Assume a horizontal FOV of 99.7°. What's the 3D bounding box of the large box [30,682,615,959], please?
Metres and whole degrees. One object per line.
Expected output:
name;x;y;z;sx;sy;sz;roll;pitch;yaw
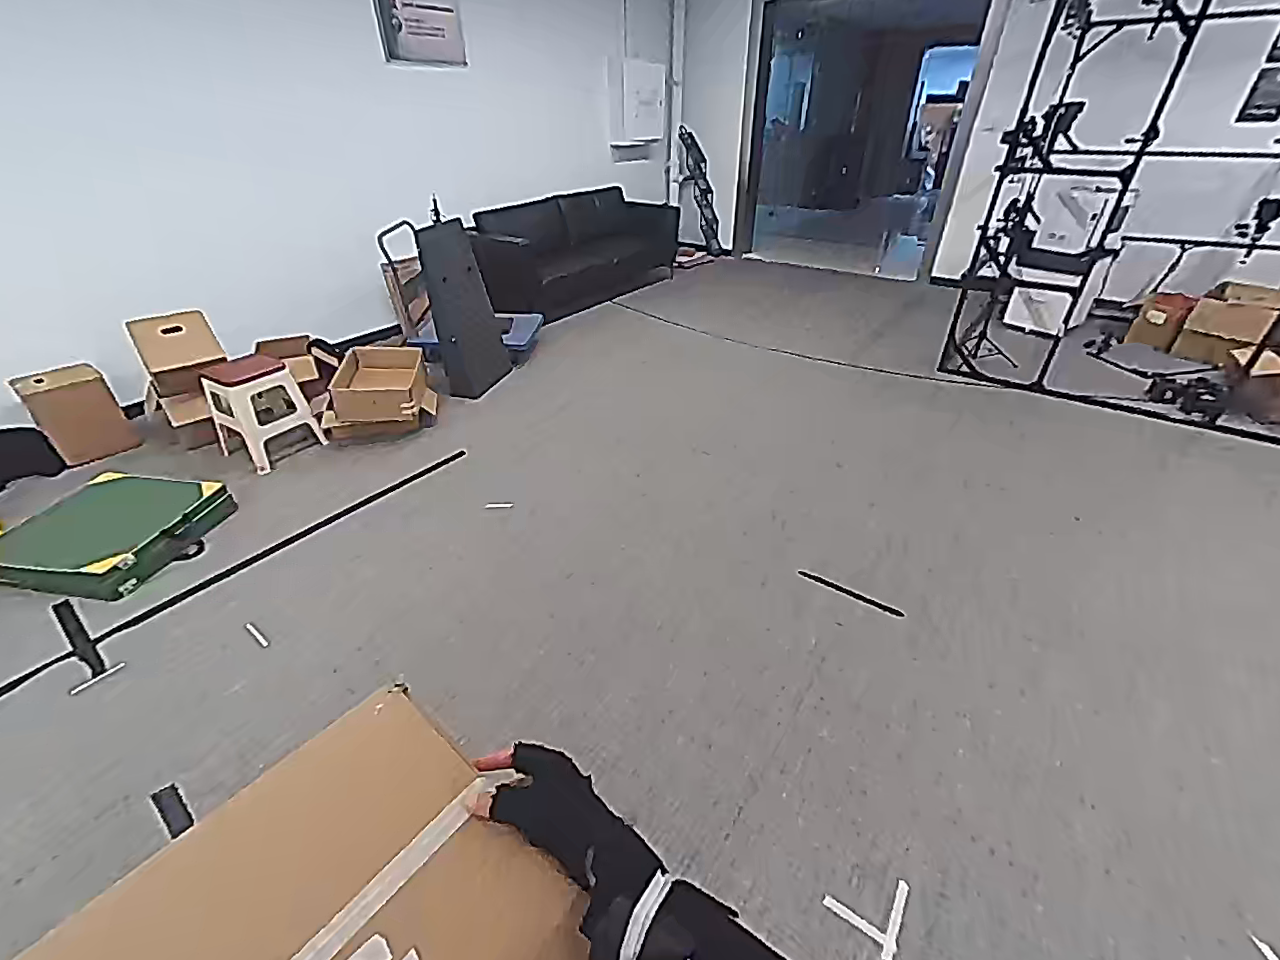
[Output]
large box;-0.267;0.481;0.463;0.320;0.320;0.408;30;45;27
